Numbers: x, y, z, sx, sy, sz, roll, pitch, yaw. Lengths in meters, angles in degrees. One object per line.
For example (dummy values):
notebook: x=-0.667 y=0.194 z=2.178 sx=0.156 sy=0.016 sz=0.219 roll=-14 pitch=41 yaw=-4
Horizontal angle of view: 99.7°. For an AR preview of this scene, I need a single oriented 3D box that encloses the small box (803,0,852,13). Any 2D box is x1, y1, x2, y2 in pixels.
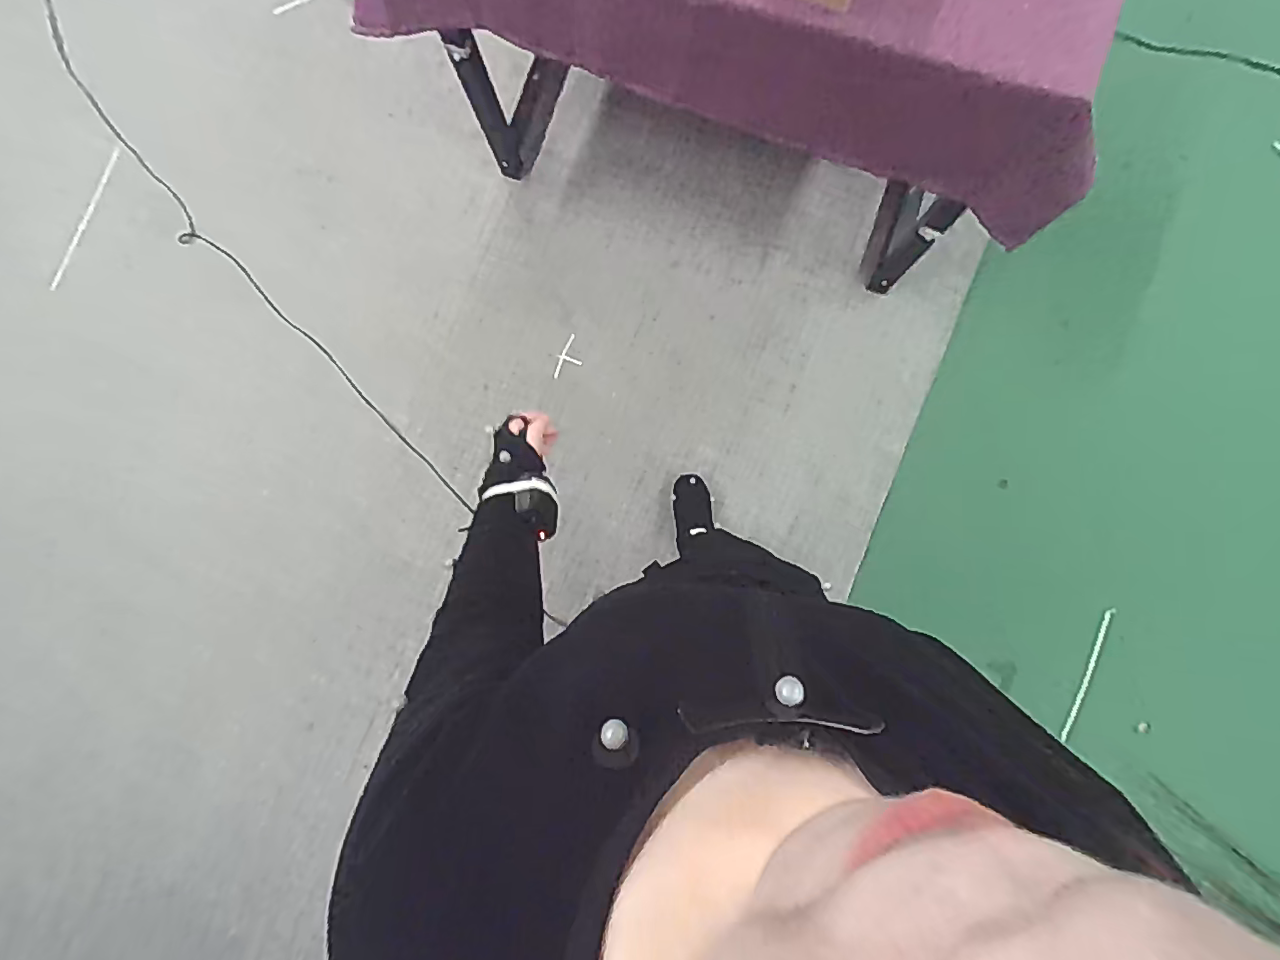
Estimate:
small box: x=0.271 y=-0.830 z=0.768 sx=0.168 sy=0.176 sz=0.179 roll=22 pitch=86 yaw=3
